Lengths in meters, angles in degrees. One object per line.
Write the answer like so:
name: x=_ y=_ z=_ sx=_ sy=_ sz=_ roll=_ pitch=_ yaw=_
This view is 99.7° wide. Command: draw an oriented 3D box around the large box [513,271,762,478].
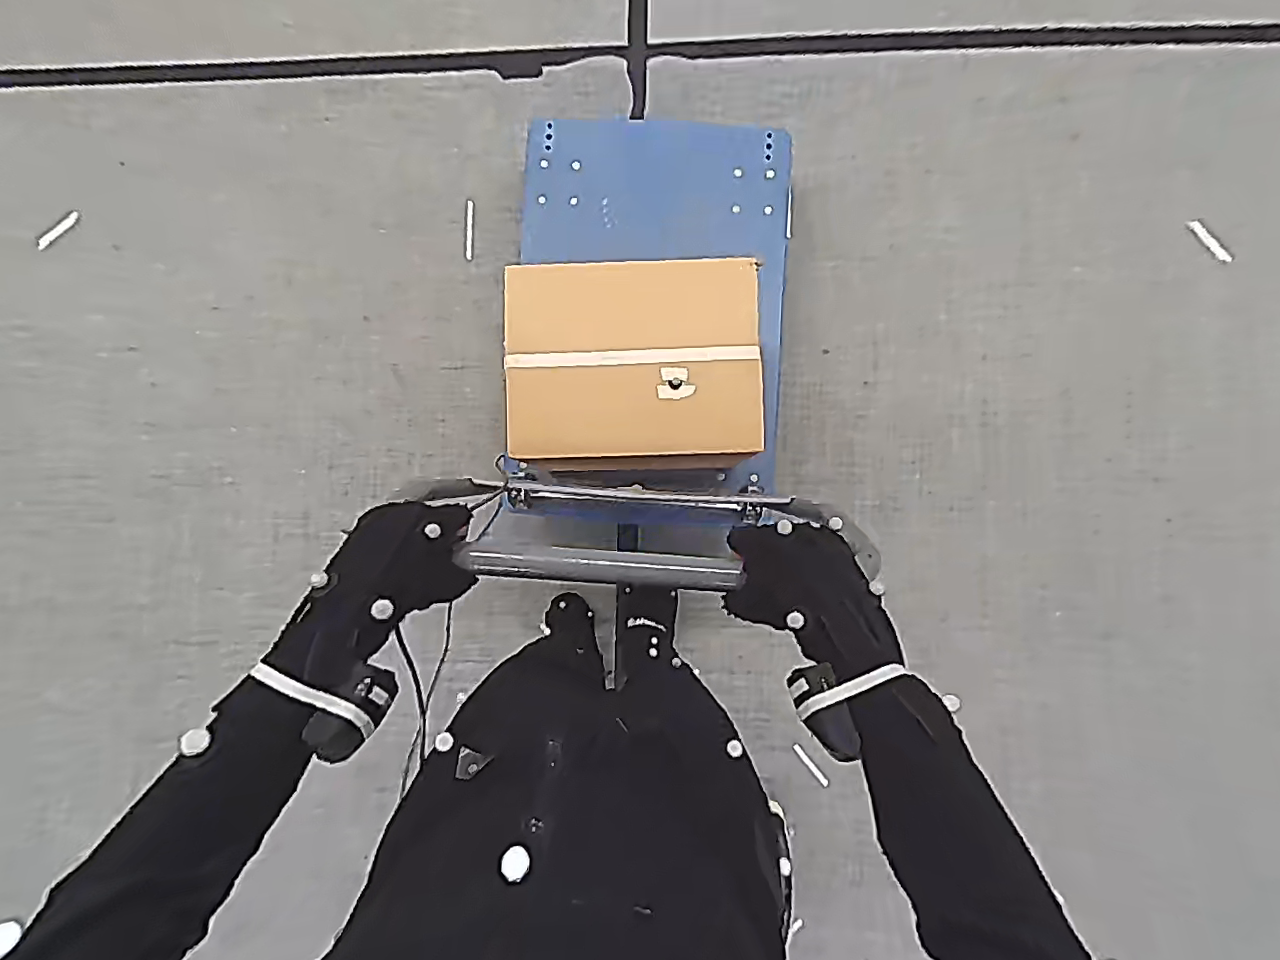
large box: x=-0.007 y=-0.174 z=1.026 sx=0.408 sy=0.320 sz=0.320 roll=-1 pitch=88 yaw=0
